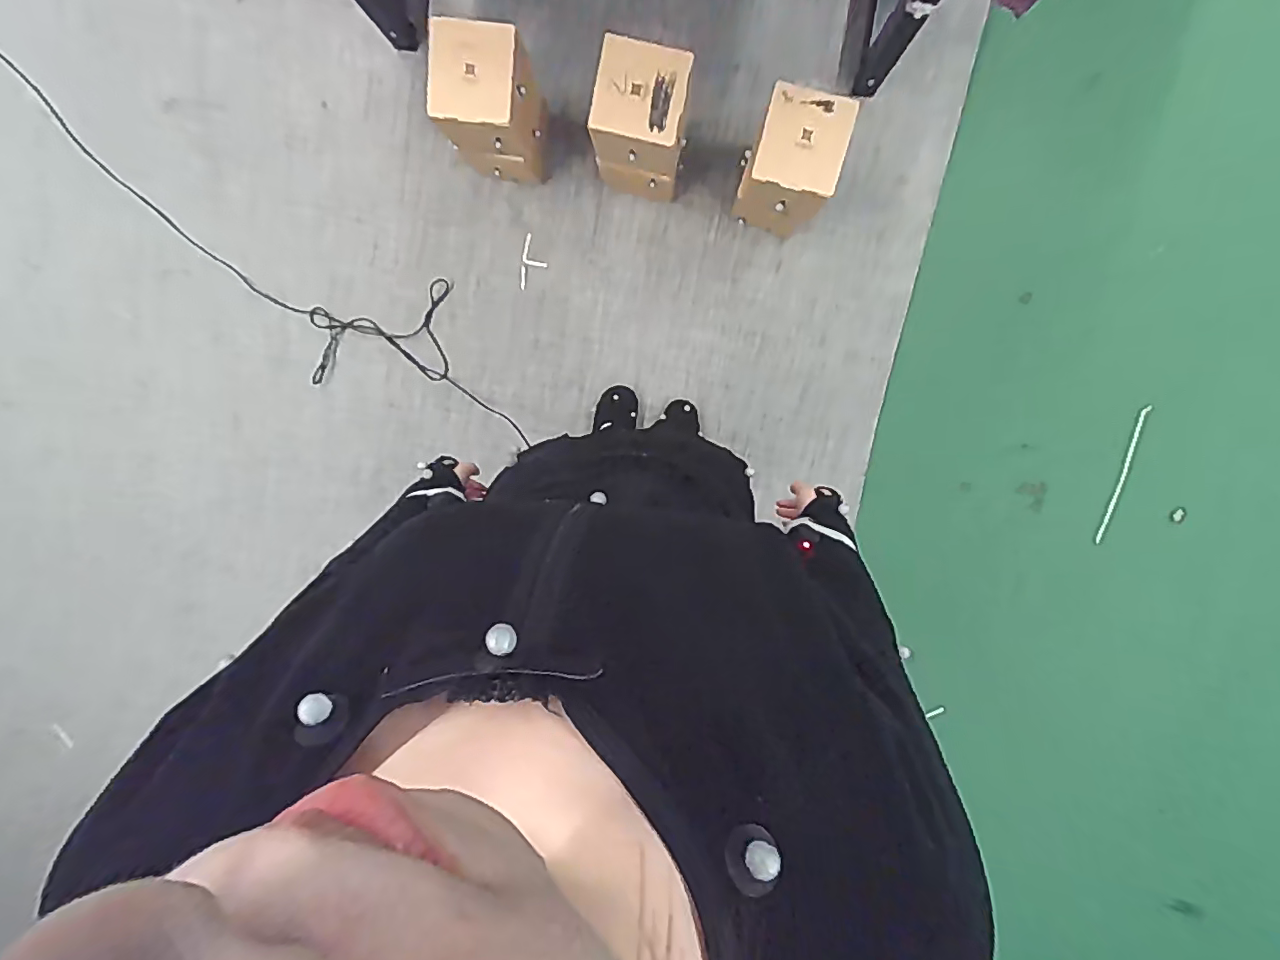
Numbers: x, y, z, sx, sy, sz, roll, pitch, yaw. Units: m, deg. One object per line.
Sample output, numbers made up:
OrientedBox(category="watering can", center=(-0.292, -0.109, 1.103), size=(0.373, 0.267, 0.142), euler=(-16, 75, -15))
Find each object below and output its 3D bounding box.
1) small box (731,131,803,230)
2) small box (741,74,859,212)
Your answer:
OrientedBox(category="small box", center=(0.320, -0.711, 1.265), size=(0.168, 0.176, 0.179), euler=(19, 101, -1))
OrientedBox(category="small box", center=(0.313, -0.672, 1.104), size=(0.168, 0.176, 0.179), euler=(15, 103, -2))
